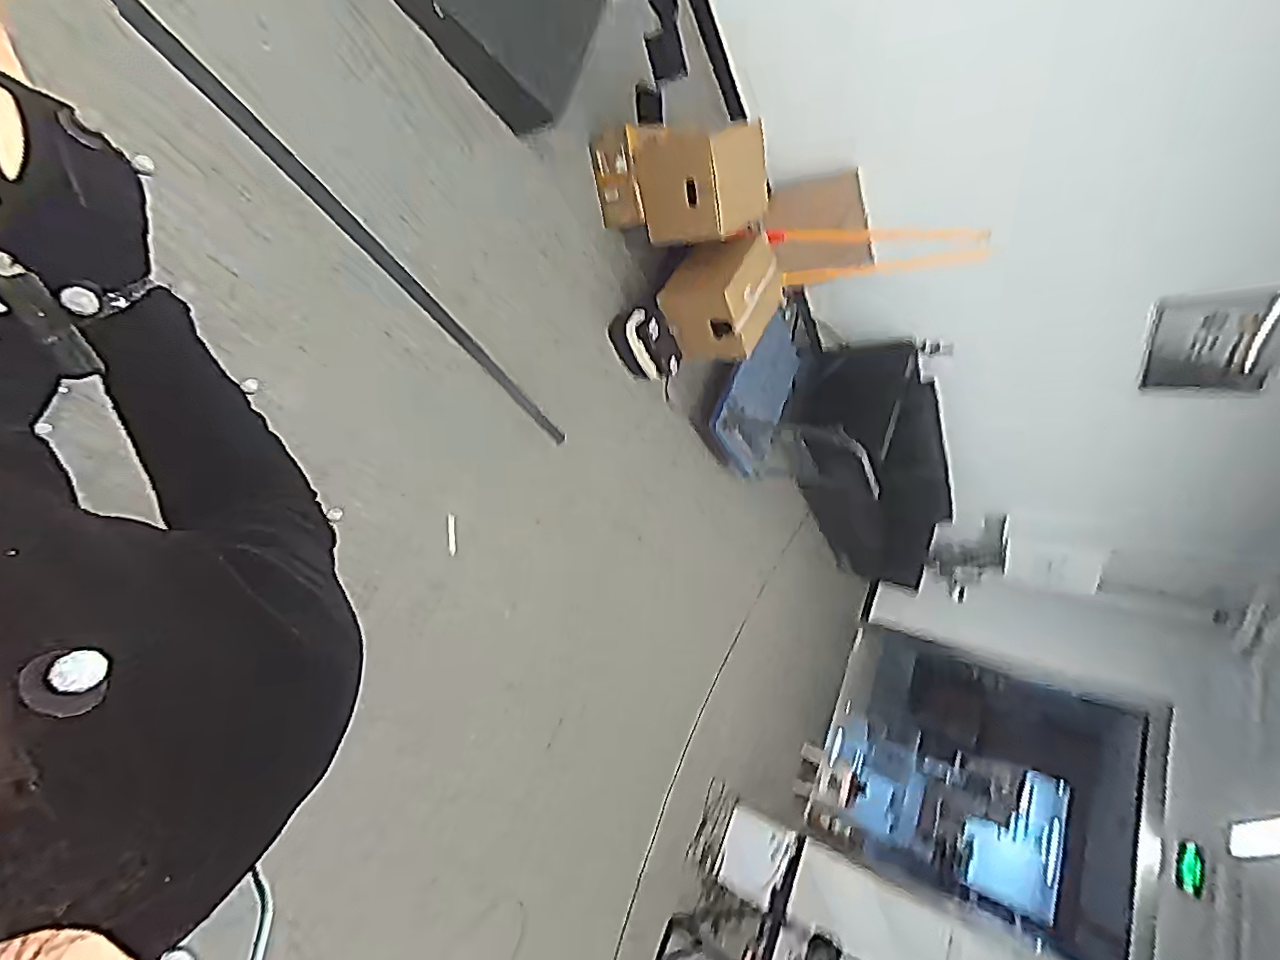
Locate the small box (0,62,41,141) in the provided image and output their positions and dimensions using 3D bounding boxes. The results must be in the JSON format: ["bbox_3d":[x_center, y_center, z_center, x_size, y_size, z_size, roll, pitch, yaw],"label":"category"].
[{"bbox_3d":[-1.087,-0.601,0.818,0.179,0.176,0.168,50,59,-46],"label":"small box"}]

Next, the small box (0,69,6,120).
[{"bbox_3d":[-0.441,-0.287,0.250,0.168,0.176,0.179,-8,118,-42],"label":"small box"}]
